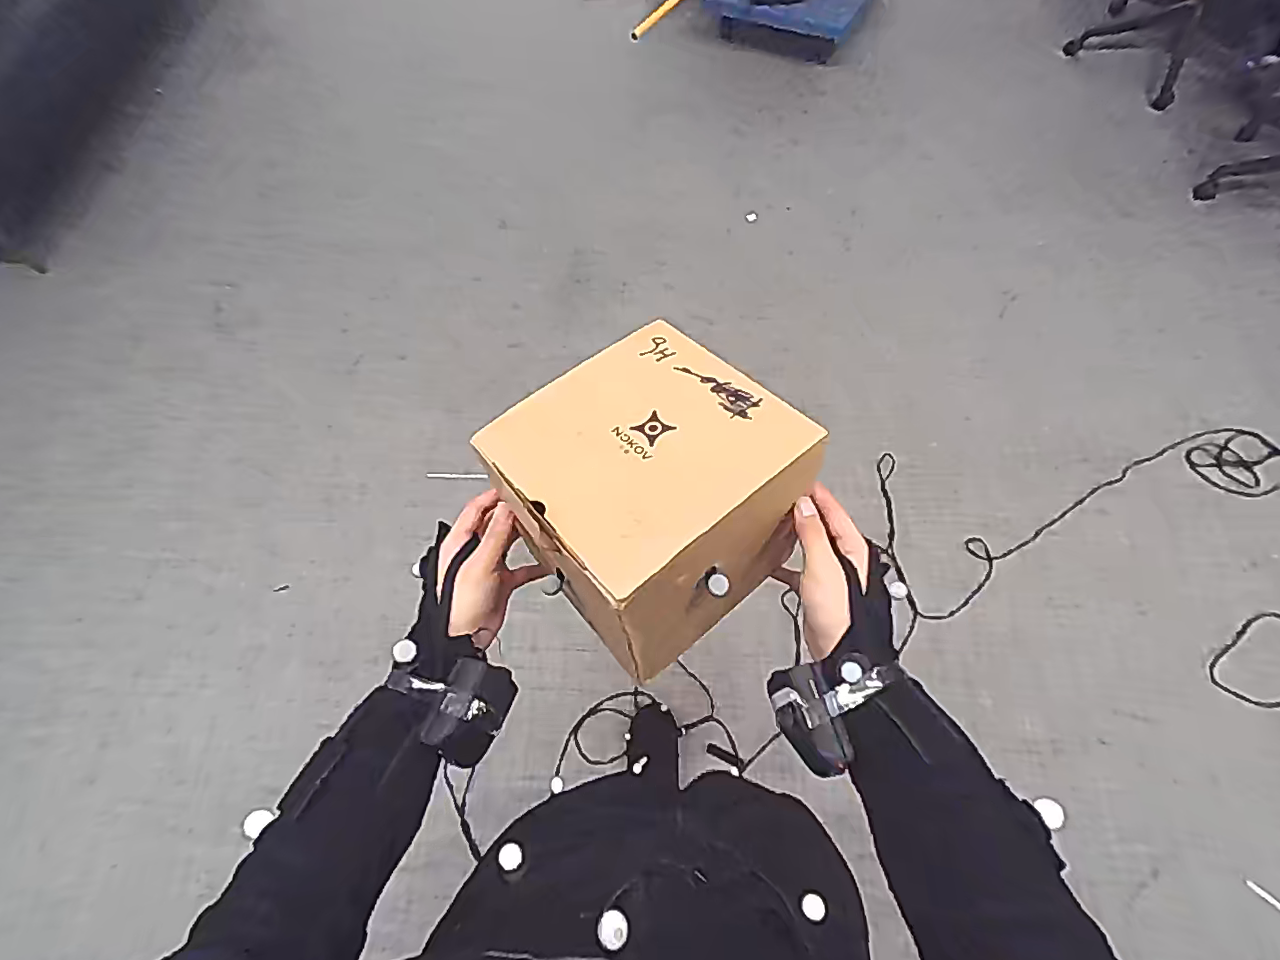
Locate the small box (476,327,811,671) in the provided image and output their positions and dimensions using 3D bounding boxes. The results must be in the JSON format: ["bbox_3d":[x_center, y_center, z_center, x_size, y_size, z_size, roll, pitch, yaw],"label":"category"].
[{"bbox_3d":[0.008,0.020,0.431,0.179,0.176,0.168,-37,59,-18],"label":"small box"}]
